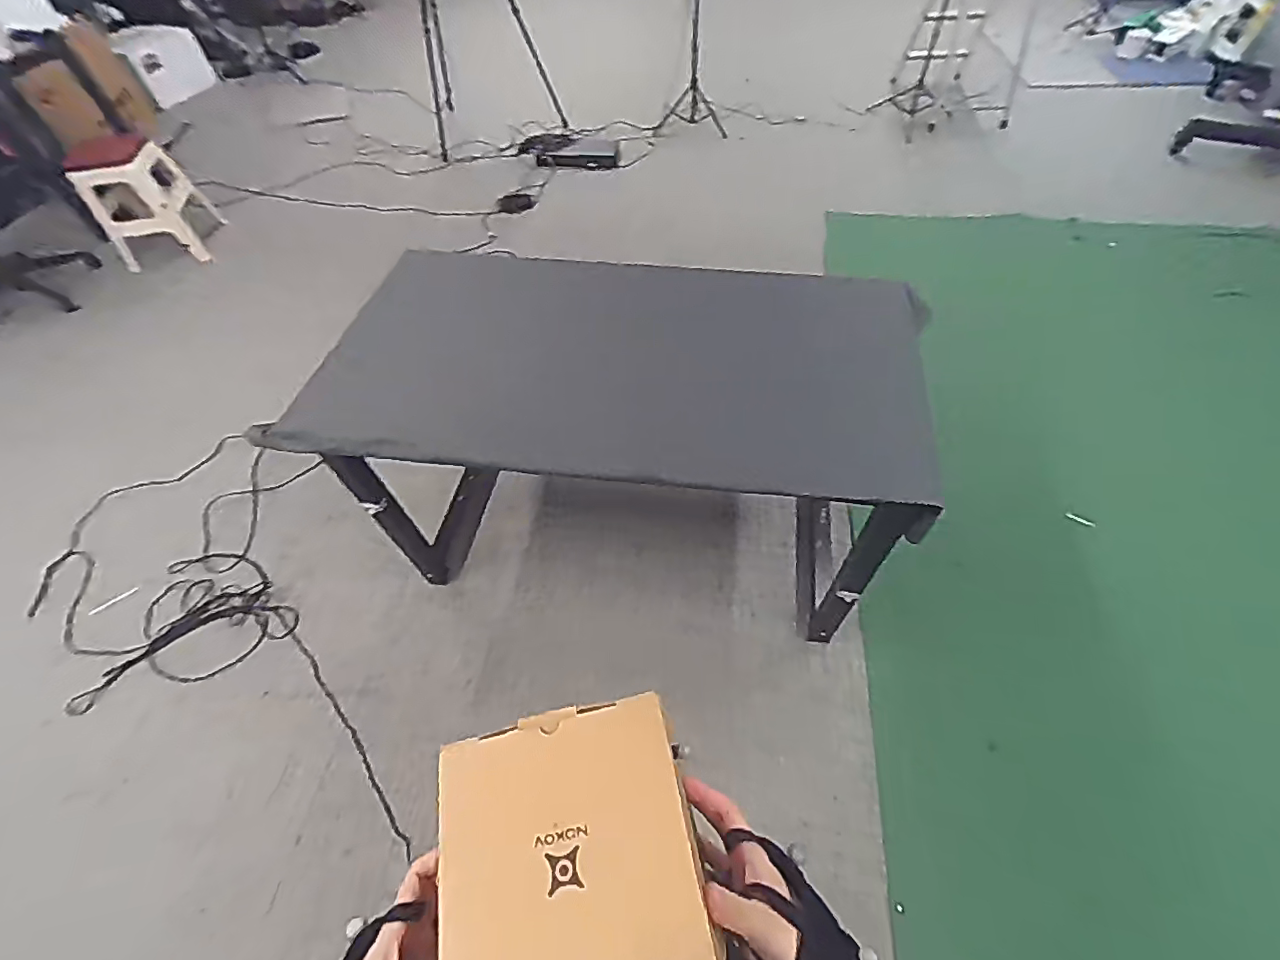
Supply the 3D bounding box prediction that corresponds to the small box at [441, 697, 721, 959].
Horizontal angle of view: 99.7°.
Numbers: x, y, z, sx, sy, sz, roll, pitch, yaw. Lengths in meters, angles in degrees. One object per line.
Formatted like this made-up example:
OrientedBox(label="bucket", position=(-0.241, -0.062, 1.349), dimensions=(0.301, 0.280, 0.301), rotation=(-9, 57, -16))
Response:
OrientedBox(label="small box", position=(-0.037, 0.290, 0.414), dimensions=(0.168, 0.176, 0.179), rotation=(-14, 55, -1))
